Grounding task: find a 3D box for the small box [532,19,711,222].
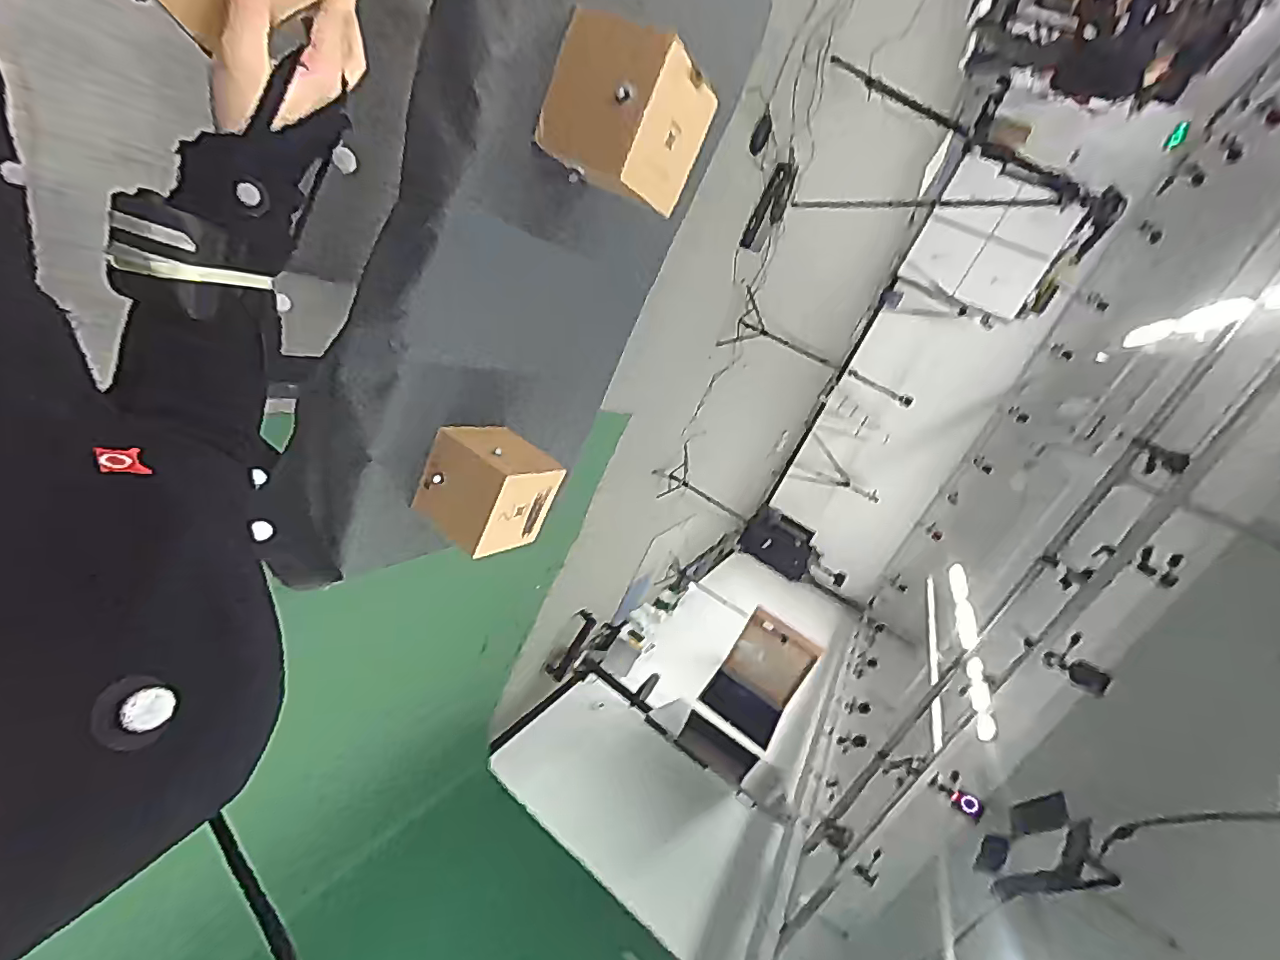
[{"bbox_3d":[-0.028,-0.514,0.784,0.168,0.176,0.179,-13,134,-63],"label":"small box"}]
